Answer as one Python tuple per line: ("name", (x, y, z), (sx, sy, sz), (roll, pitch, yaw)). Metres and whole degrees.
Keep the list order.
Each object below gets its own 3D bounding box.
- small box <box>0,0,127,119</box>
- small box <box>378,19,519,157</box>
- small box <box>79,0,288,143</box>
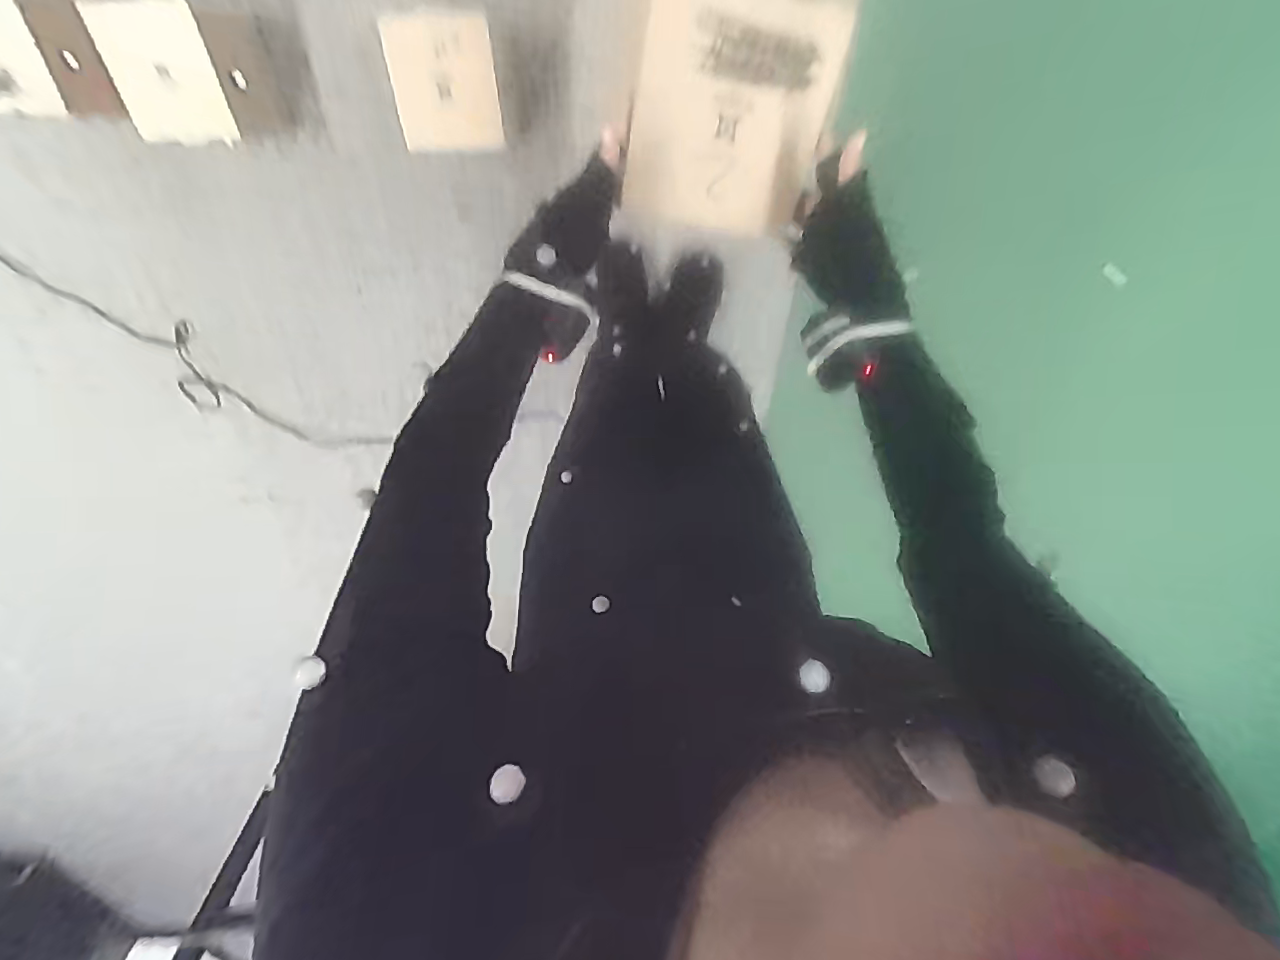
("small box", (-0.986, -0.693, 0.872), (0.168, 0.176, 0.179), (1, 125, -1))
("small box", (-0.306, -0.655, 0.909), (0.168, 0.176, 0.179), (-2, 126, -1))
("small box", (-0.732, -0.667, 0.895), (0.168, 0.176, 0.179), (-1, 126, 1))
